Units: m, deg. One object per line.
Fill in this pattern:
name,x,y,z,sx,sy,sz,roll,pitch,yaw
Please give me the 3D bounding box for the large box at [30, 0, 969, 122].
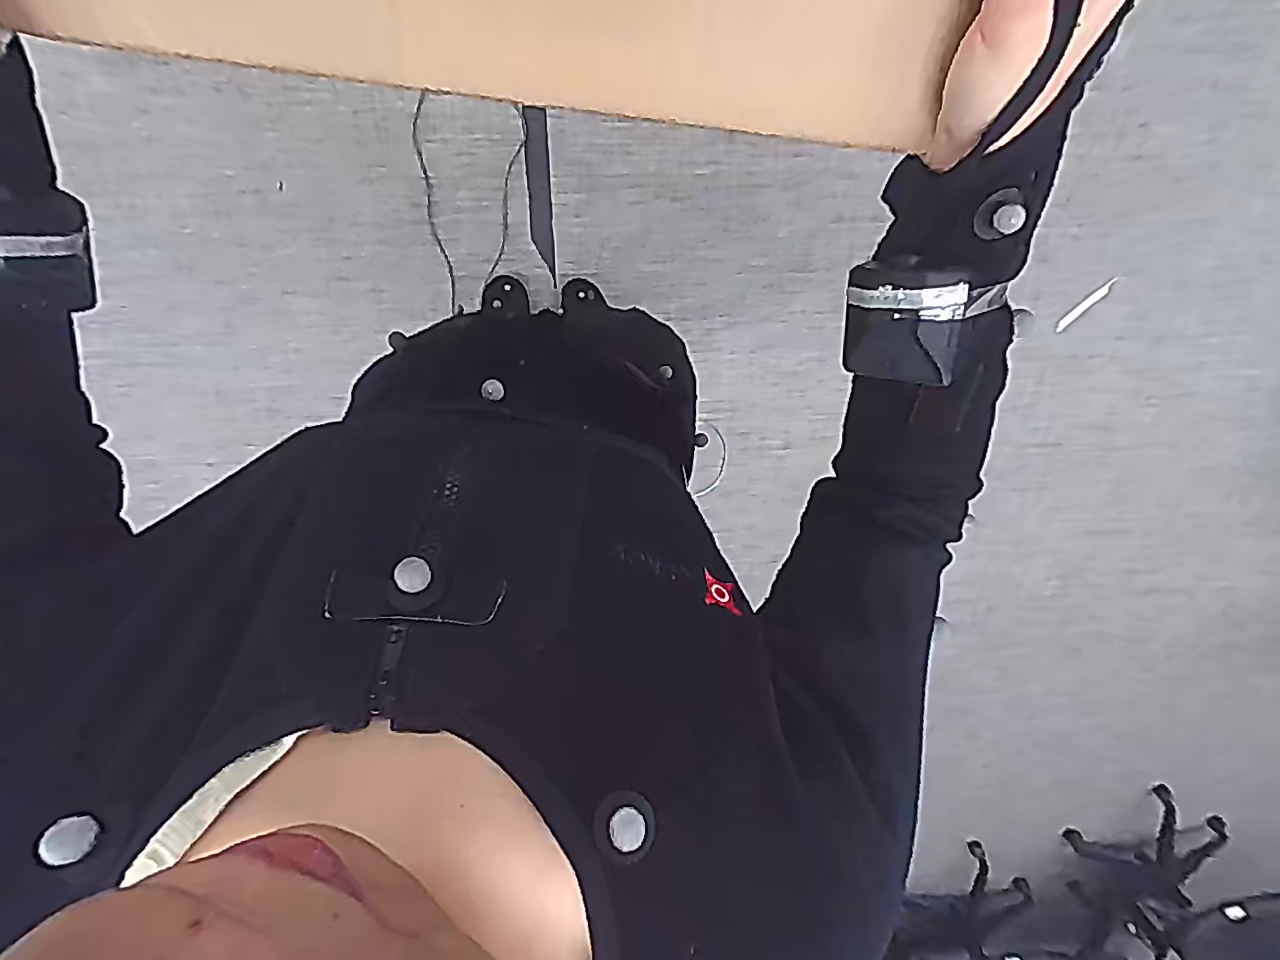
large box,-0.049,-0.396,0.258,0.408,0.320,0.320,4,132,-6
